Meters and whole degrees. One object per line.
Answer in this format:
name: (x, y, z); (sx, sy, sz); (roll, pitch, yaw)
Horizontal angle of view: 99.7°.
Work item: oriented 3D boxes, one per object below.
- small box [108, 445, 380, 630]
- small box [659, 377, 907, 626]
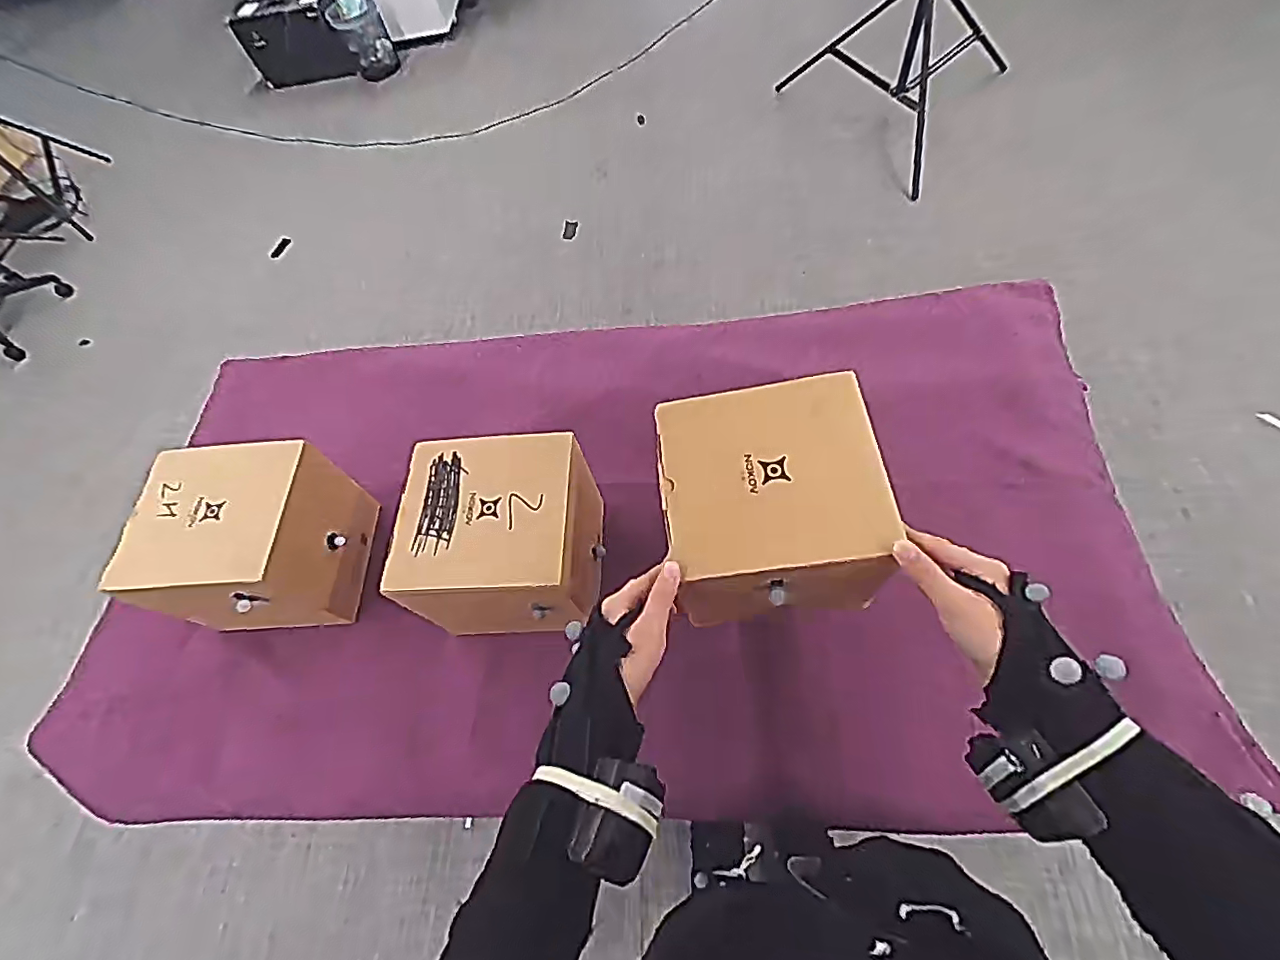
small box: (-0.442, 0.075, 0.643); (0.179, 0.176, 0.168); (-4, 60, 4)
small box: (0.121, 0.031, 0.509); (0.179, 0.176, 0.168); (-9, 60, 9)
